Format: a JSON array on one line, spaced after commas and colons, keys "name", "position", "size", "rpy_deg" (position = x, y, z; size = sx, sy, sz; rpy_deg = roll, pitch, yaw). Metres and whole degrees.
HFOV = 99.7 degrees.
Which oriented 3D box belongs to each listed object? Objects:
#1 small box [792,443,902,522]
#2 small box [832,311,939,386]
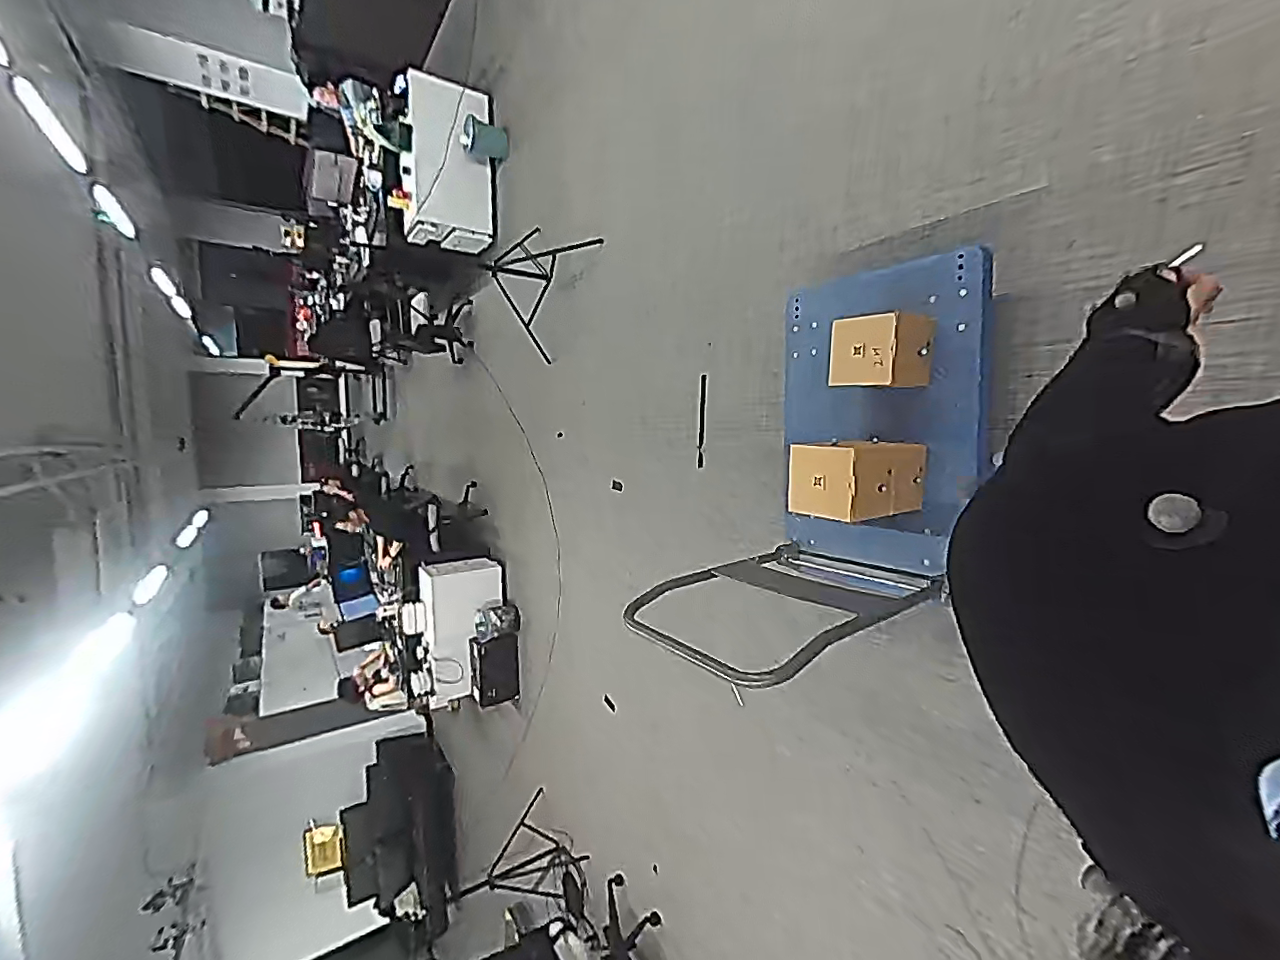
[{"name": "small box", "position": [0.482, -0.001, 1.269], "size": [0.179, 0.176, 0.168], "rpy_deg": [9, 101, 54]}, {"name": "small box", "position": [0.605, -0.319, 1.340], "size": [0.179, 0.176, 0.168], "rpy_deg": [13, 105, 55]}]
